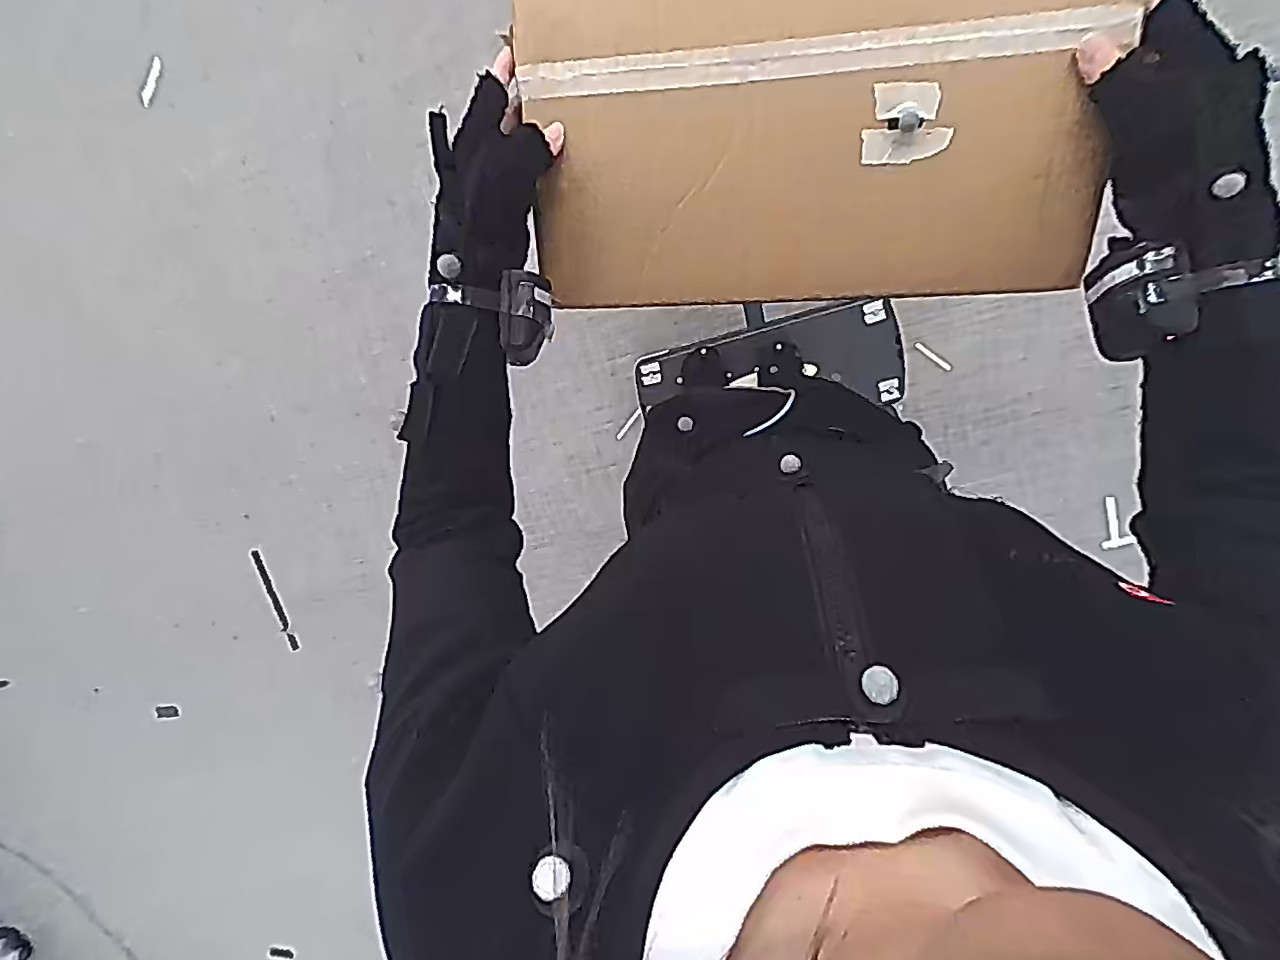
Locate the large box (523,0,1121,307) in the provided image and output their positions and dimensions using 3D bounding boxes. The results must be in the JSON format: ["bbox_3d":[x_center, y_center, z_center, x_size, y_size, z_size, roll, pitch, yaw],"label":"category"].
[{"bbox_3d":[0.130,-0.345,0.519,0.408,0.320,0.320,0,111,7],"label":"large box"}]

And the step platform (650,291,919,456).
[{"bbox_3d":[0.372,-0.283,1.461,0.684,0.204,0.286,-15,103,10],"label":"step platform"}]
